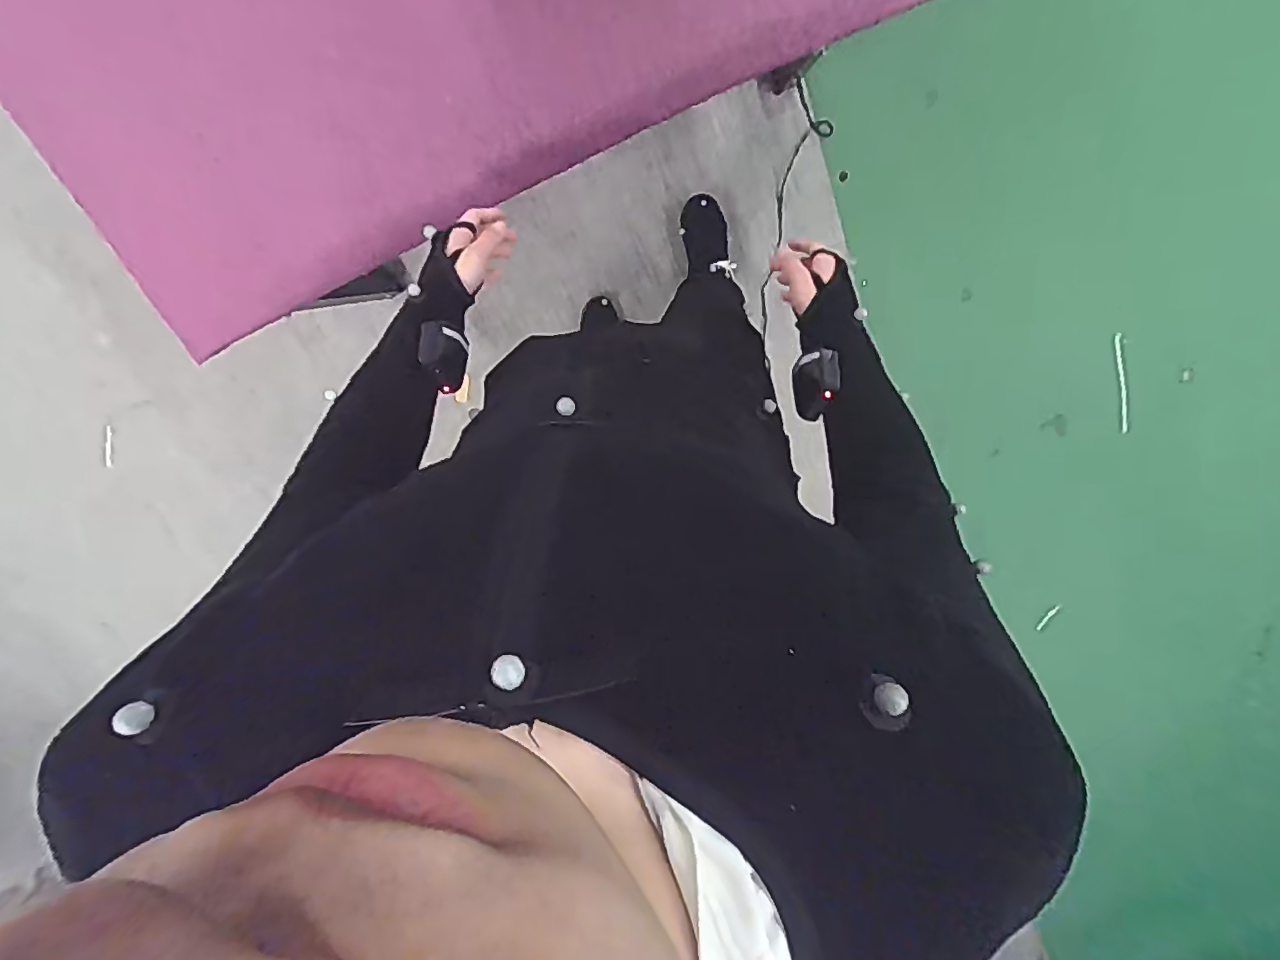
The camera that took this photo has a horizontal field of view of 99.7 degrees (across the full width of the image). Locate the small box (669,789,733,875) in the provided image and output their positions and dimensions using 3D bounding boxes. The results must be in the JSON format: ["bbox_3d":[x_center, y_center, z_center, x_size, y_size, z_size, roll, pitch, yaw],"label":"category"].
[{"bbox_3d":[0.208,1.236,1.907,0.179,0.176,0.168,-22,109,6],"label":"small box"}]
